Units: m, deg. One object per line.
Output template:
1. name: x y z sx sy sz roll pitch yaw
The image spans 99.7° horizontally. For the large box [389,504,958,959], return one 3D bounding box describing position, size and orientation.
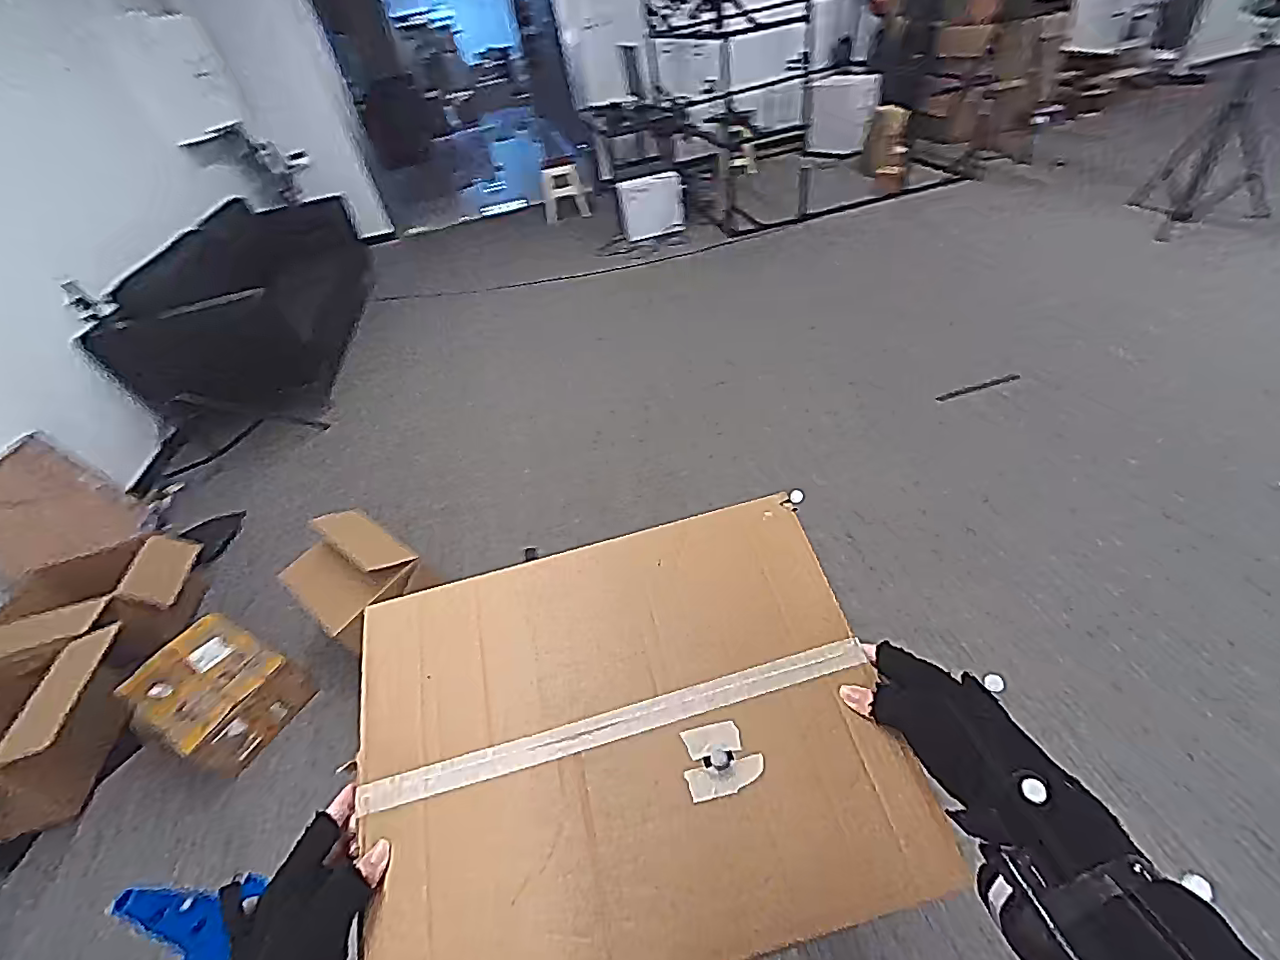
1. large box: 0.006 0.276 0.562 0.408 0.320 0.320 -15 58 -3
